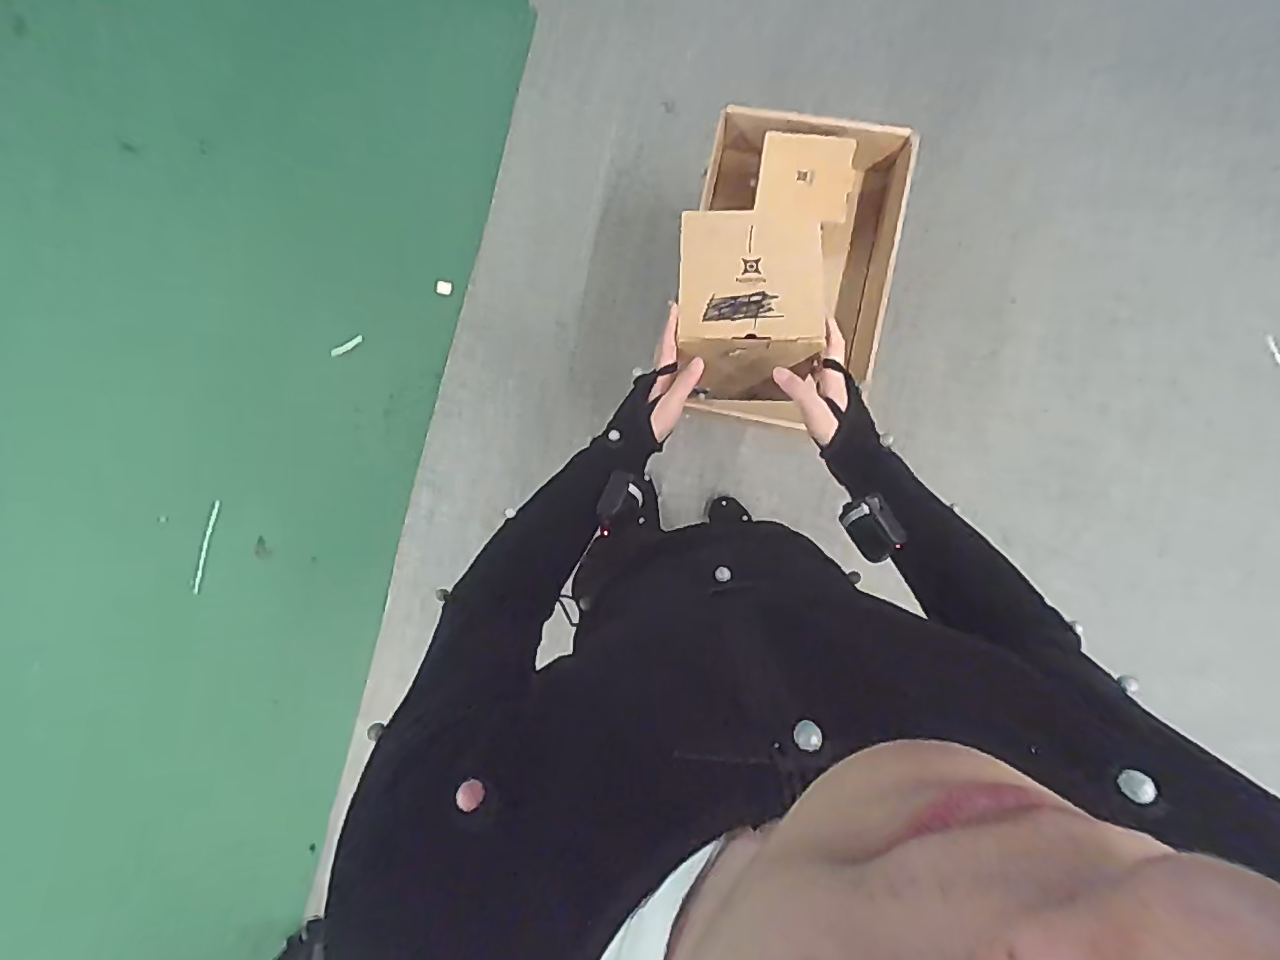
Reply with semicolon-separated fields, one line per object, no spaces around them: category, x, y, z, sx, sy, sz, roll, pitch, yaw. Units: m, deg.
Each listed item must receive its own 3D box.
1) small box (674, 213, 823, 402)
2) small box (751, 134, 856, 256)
small box;0.131;-0.211;0.696;0.168;0.176;0.179;2;74;4
small box;0.324;-0.578;1.120;0.179;0.176;0.168;8;89;5
